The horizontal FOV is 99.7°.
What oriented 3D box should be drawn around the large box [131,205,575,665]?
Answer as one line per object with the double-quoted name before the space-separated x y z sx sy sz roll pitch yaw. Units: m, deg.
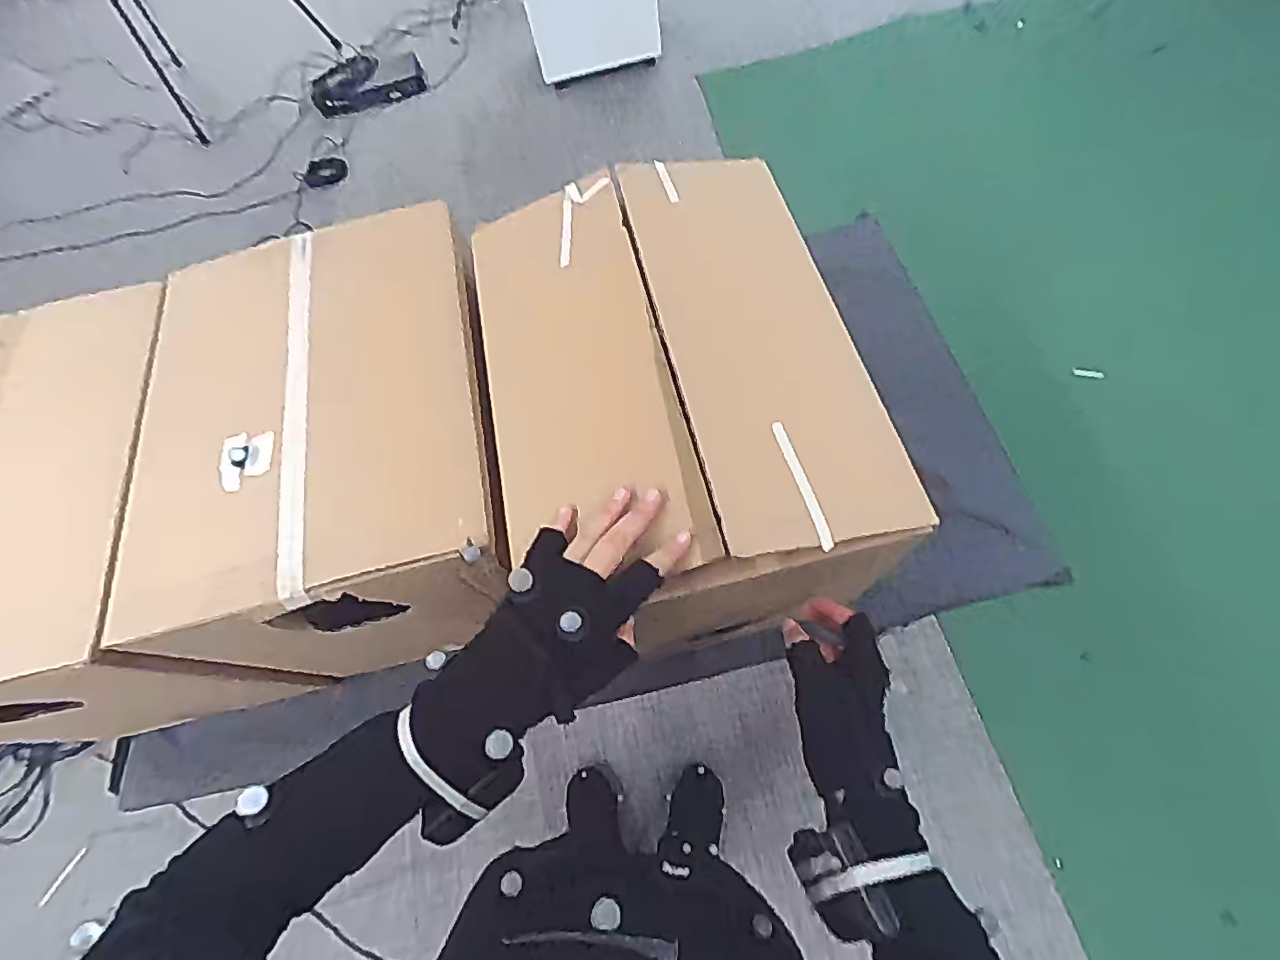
"large box" -0.289 -0.030 0.642 0.320 0.320 0.408 -15 66 1
